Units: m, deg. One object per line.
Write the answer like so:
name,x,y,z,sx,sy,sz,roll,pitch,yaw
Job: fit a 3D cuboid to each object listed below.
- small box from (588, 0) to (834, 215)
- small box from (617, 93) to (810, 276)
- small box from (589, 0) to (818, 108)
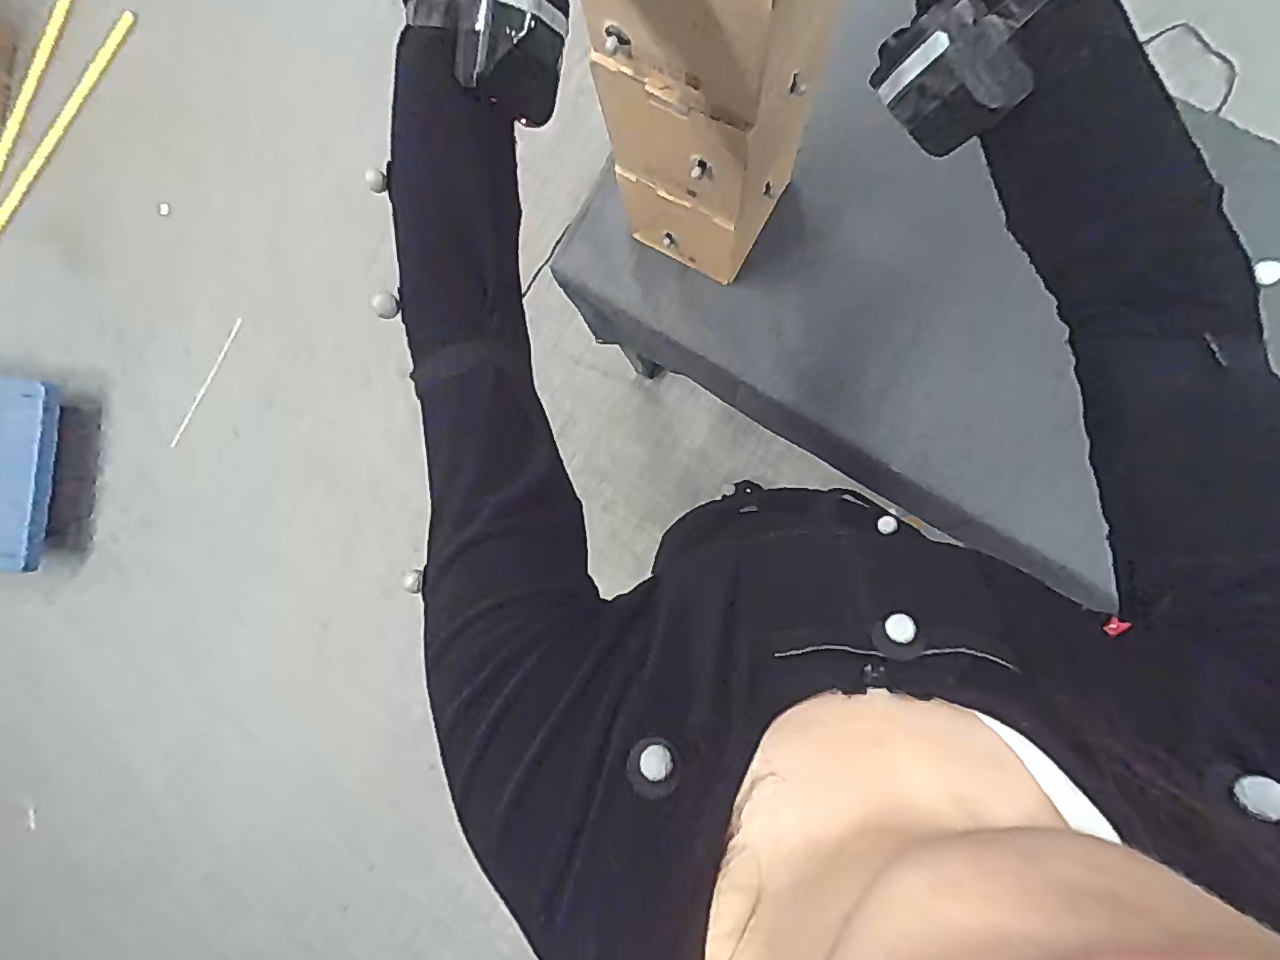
small box,0.075,-0.408,0.541,0.168,0.176,0.179,31,93,6
small box,0.091,-0.403,0.703,0.168,0.176,0.179,30,93,7
small box,0.059,-0.417,0.378,0.168,0.176,0.179,30,92,5
